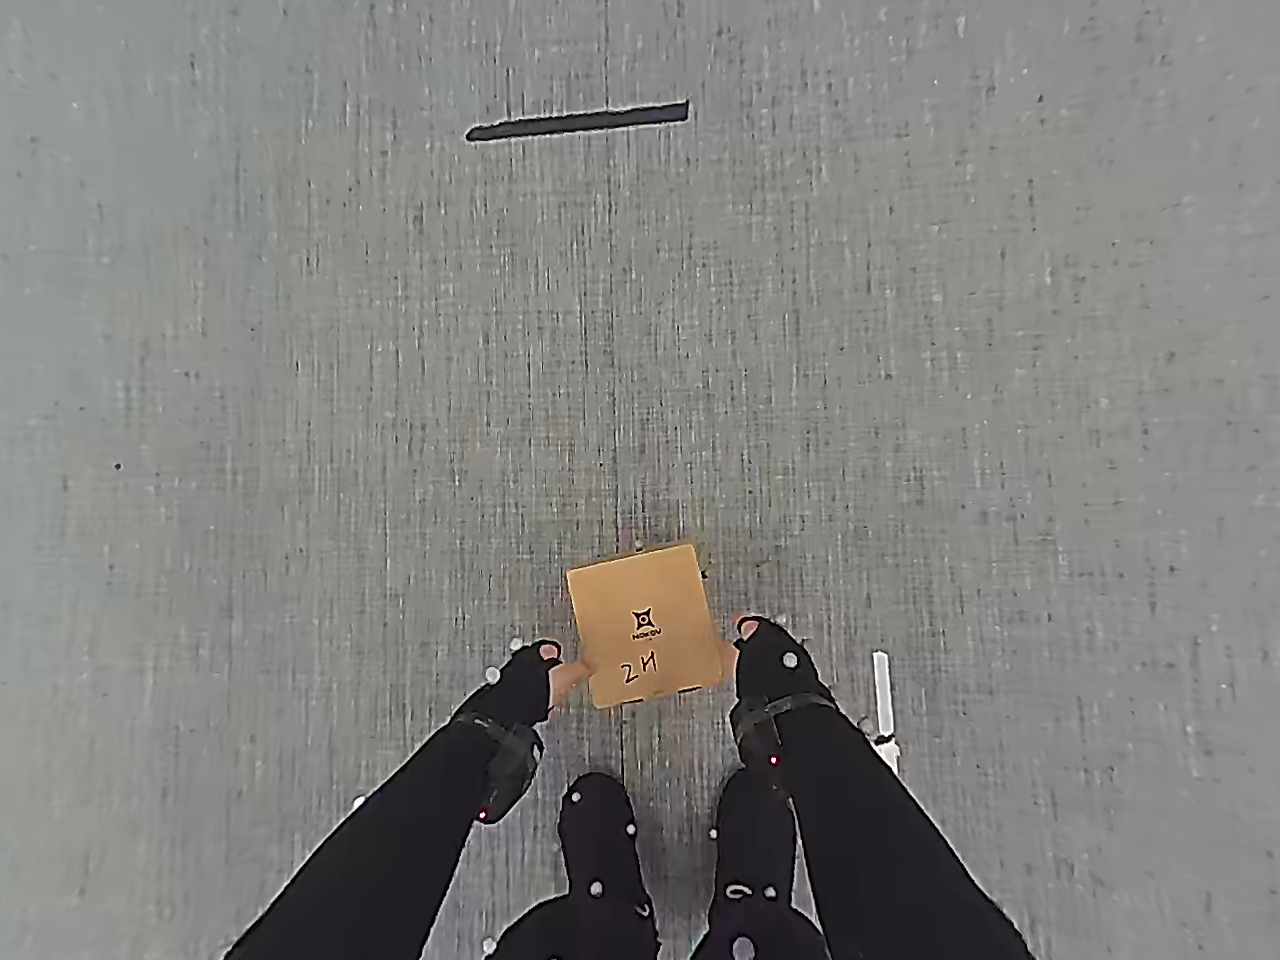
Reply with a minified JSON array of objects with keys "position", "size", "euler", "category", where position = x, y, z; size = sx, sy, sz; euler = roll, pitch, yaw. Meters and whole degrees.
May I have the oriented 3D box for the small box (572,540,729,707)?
[{"position":[0.017,0.181,0.736],"size":[0.168,0.176,0.179],"euler":[-13,85,4],"category":"small box"}]
